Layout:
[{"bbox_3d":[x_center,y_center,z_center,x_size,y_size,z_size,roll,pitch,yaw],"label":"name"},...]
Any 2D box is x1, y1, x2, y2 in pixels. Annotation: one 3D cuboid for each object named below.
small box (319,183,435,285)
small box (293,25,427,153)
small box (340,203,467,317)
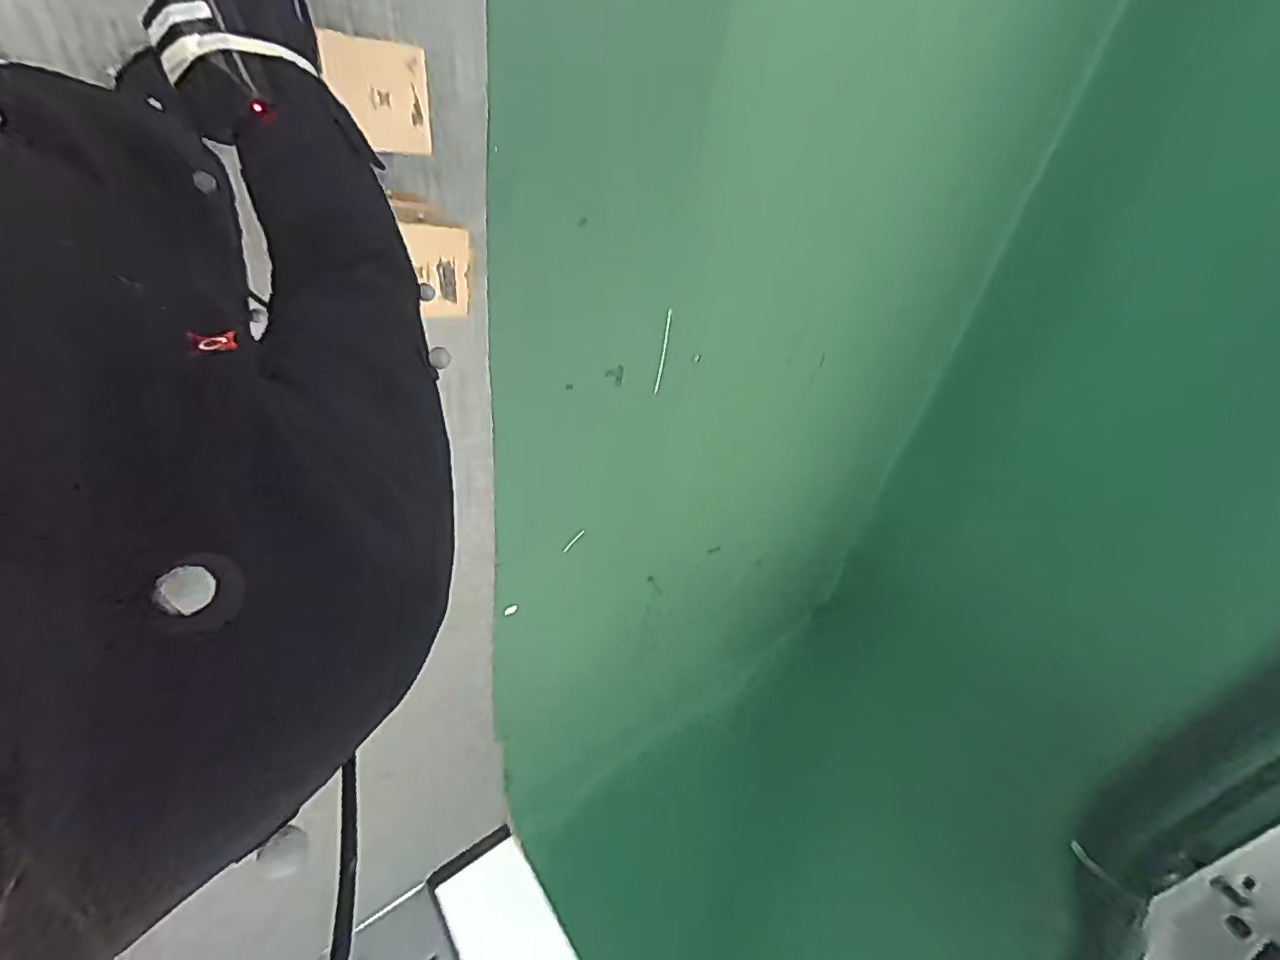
[{"bbox_3d":[-0.546,-0.509,1.129,0.179,0.176,0.168,-13,129,-36],"label":"small box"},{"bbox_3d":[-0.514,-0.709,0.991,0.179,0.176,0.168,-19,132,-34],"label":"small box"},{"bbox_3d":[-0.450,-0.418,1.032,0.179,0.176,0.168,-14,129,-37],"label":"small box"}]
